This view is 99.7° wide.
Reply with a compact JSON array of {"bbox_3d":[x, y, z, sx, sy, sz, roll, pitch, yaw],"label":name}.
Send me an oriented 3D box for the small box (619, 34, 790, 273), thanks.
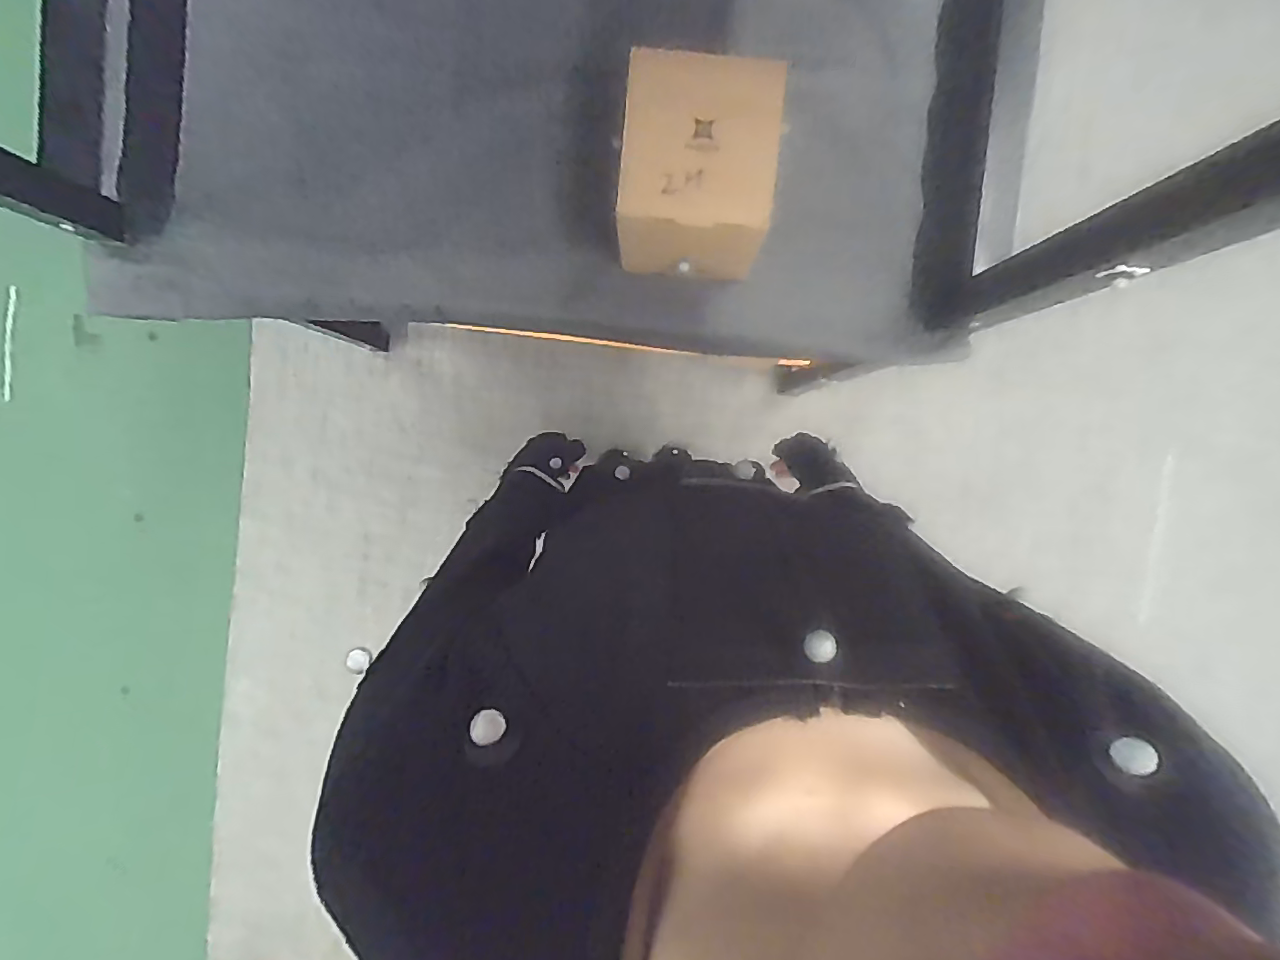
[{"bbox_3d":[0.067,-0.370,0.642,0.168,0.176,0.179,6,92,0],"label":"small box"}]
